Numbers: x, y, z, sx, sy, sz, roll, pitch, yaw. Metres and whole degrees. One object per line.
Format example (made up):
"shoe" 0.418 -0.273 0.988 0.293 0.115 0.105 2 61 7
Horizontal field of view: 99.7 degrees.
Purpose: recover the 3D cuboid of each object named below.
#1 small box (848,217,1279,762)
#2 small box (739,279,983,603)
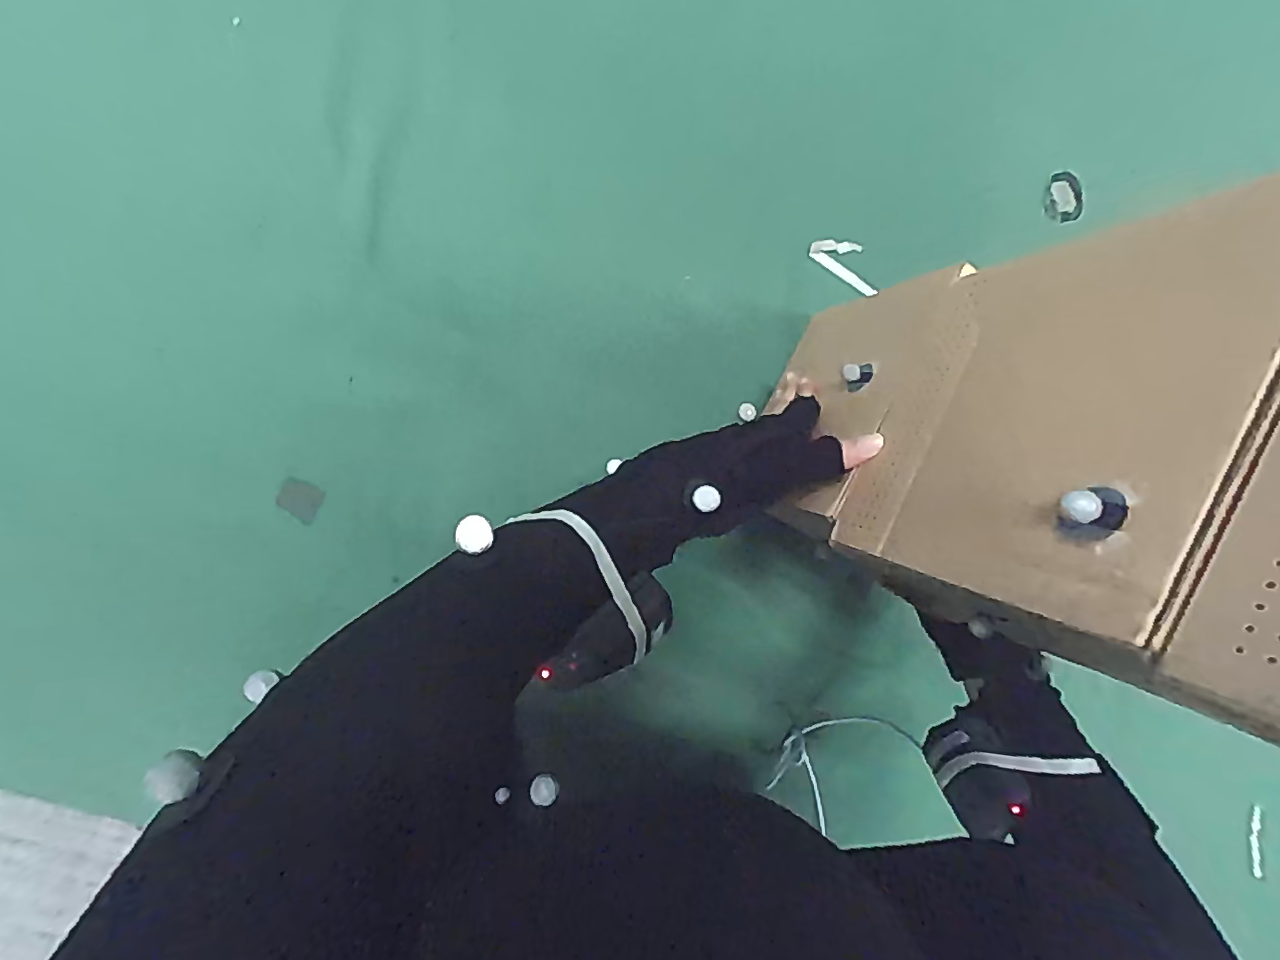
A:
"small box" 0.236 0.006 0.260 0.168 0.176 0.179 26 91 -15
"small box" 0.203 -0.017 0.418 0.168 0.176 0.179 28 90 -13
